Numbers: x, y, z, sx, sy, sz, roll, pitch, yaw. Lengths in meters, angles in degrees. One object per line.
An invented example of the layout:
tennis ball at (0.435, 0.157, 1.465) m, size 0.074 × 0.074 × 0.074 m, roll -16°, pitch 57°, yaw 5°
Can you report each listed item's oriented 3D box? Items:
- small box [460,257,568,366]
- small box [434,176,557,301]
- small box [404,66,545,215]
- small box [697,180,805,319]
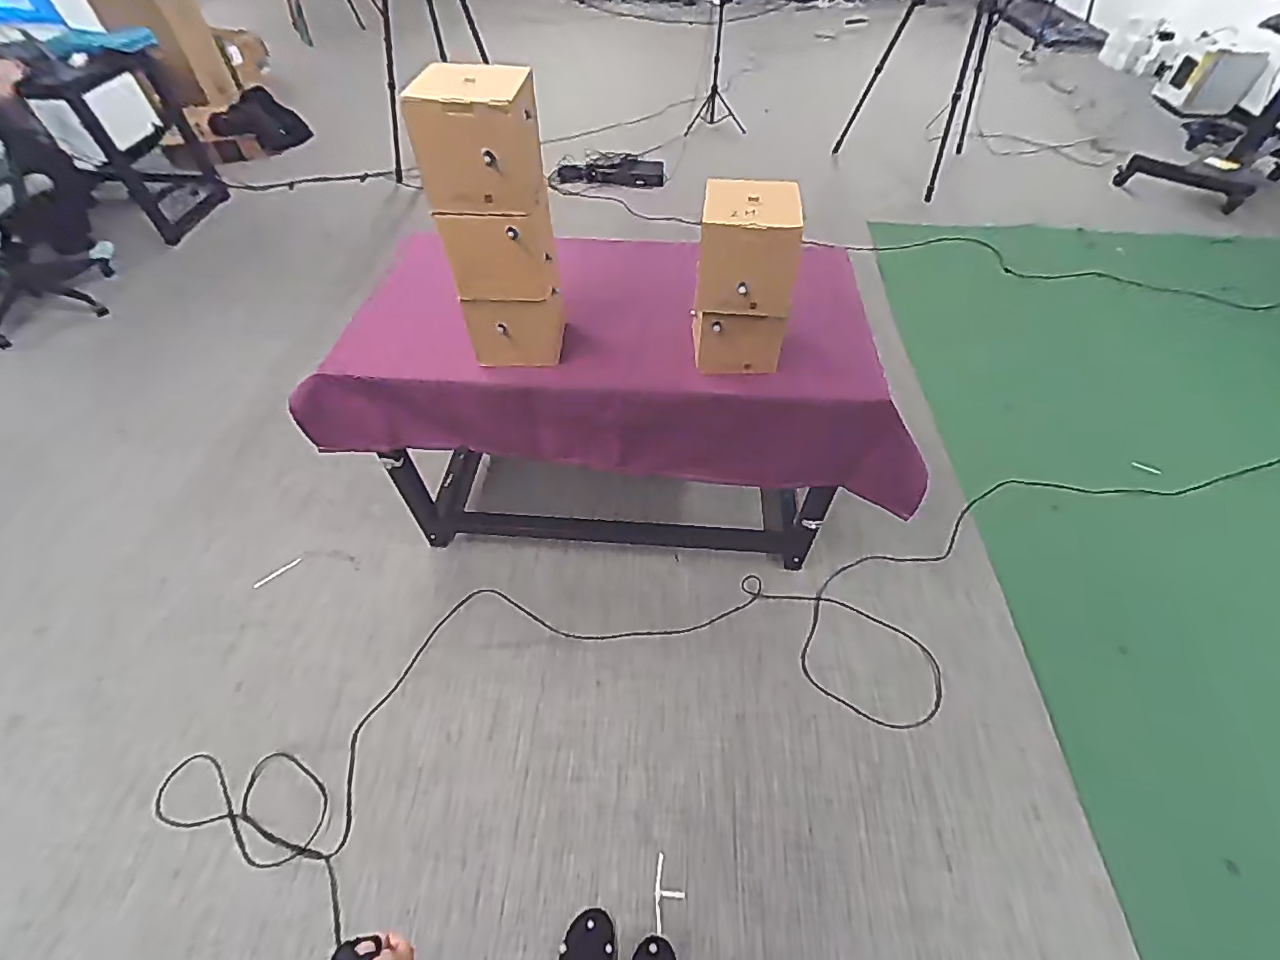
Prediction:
small box at (-0.258, -0.359, 1.154) m, size 0.179 × 0.176 × 0.168 m, roll 1°, pitch 52°, yaw 1°
small box at (-0.261, -0.457, 1.024) m, size 0.179 × 0.176 × 0.168 m, roll 2°, pitch 51°, yaw 0°
small box at (-0.259, -0.562, 0.899) m, size 0.168 × 0.176 × 0.179 m, roll 4°, pitch 50°, yaw 2°
small box at (0.196, -0.420, 0.987) m, size 0.168 × 0.176 × 0.179 m, roll 6°, pitch 51°, yaw 6°
